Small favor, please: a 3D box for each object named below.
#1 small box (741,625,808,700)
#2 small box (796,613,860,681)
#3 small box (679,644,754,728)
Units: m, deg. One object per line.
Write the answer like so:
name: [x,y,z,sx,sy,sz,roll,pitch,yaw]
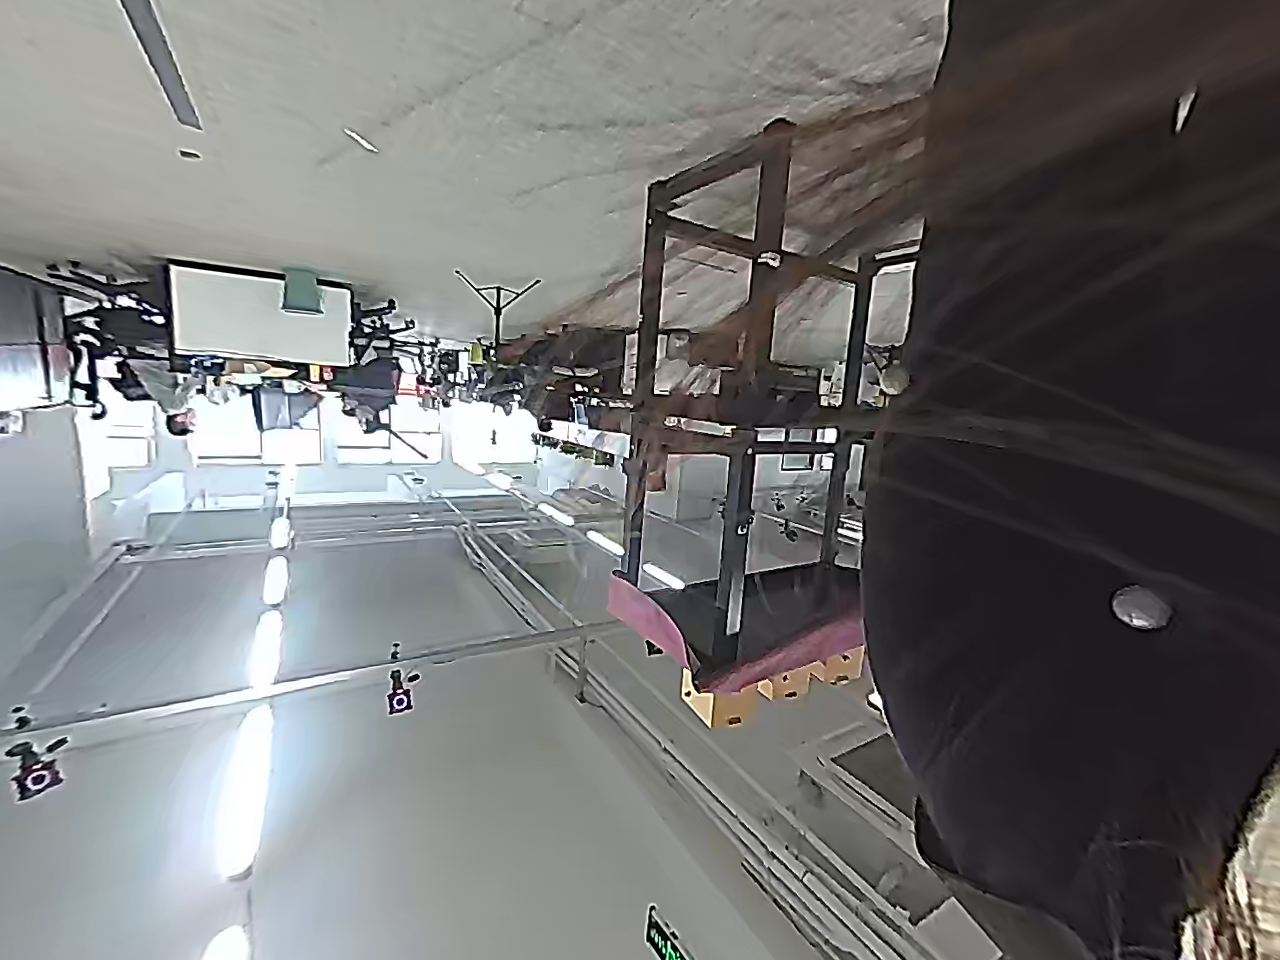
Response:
small box: [0.452,0.613,1.838,0.168,0.176,0.179,-1,-169,-30]
small box: [0.683,0.606,1.978,0.168,0.176,0.179,-1,-170,-23]
small box: [0.239,0.630,1.682,0.168,0.176,0.179,-2,-168,-26]
